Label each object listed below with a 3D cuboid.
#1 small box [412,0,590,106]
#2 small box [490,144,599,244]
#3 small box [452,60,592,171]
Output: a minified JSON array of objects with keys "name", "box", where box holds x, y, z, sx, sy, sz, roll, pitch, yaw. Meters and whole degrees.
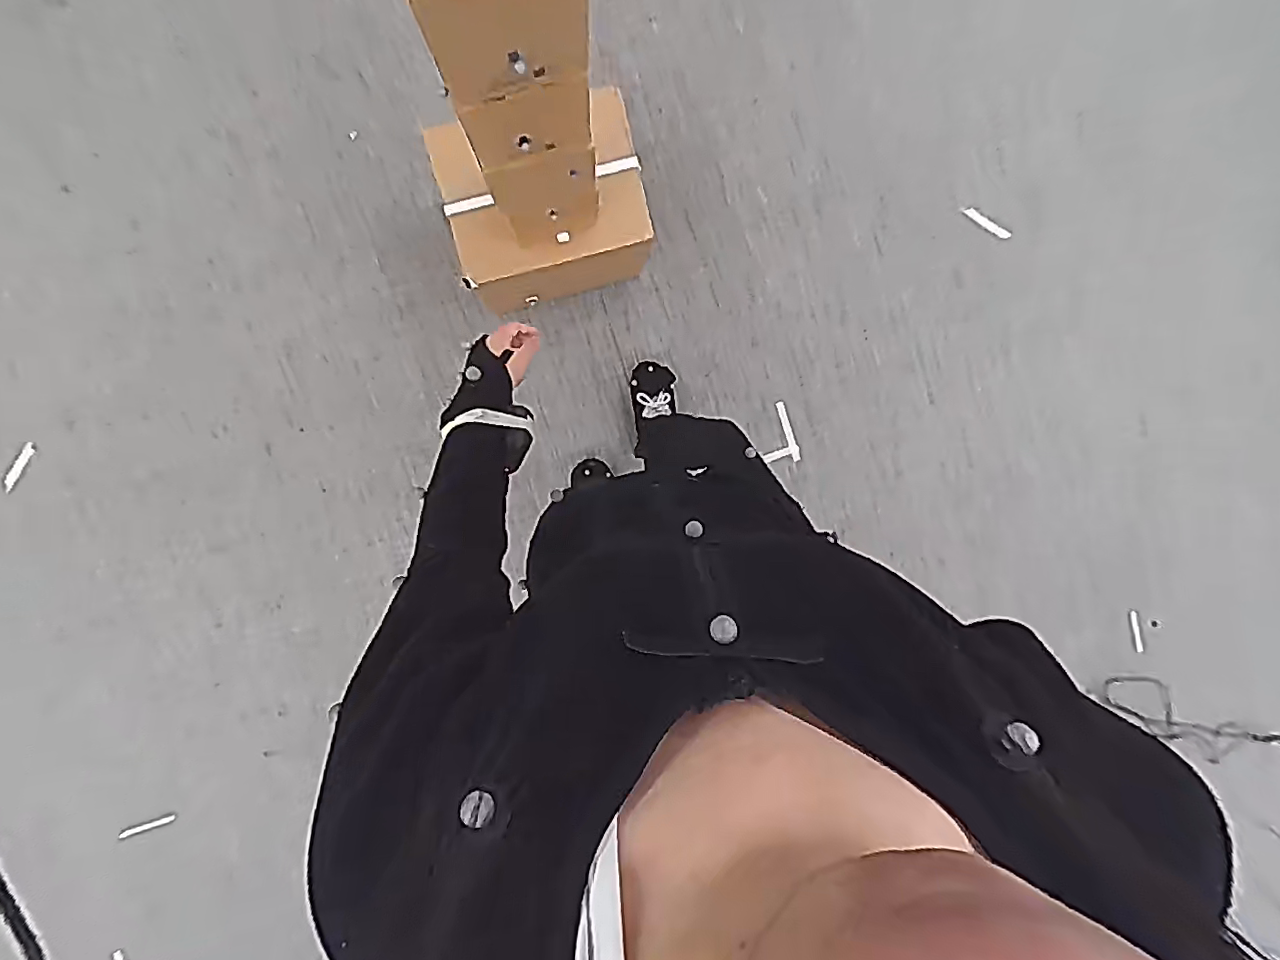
[{"name":"small box","box":[-0.154,-0.526,0.539,0.168,0.176,0.179,-19,99,-2]},{"name":"small box","box":[-0.183,-0.572,1.026,0.179,0.176,0.168,-18,99,-3]},{"name":"small box","box":[-0.166,-0.543,0.702,0.168,0.176,0.179,-18,99,-3]}]
